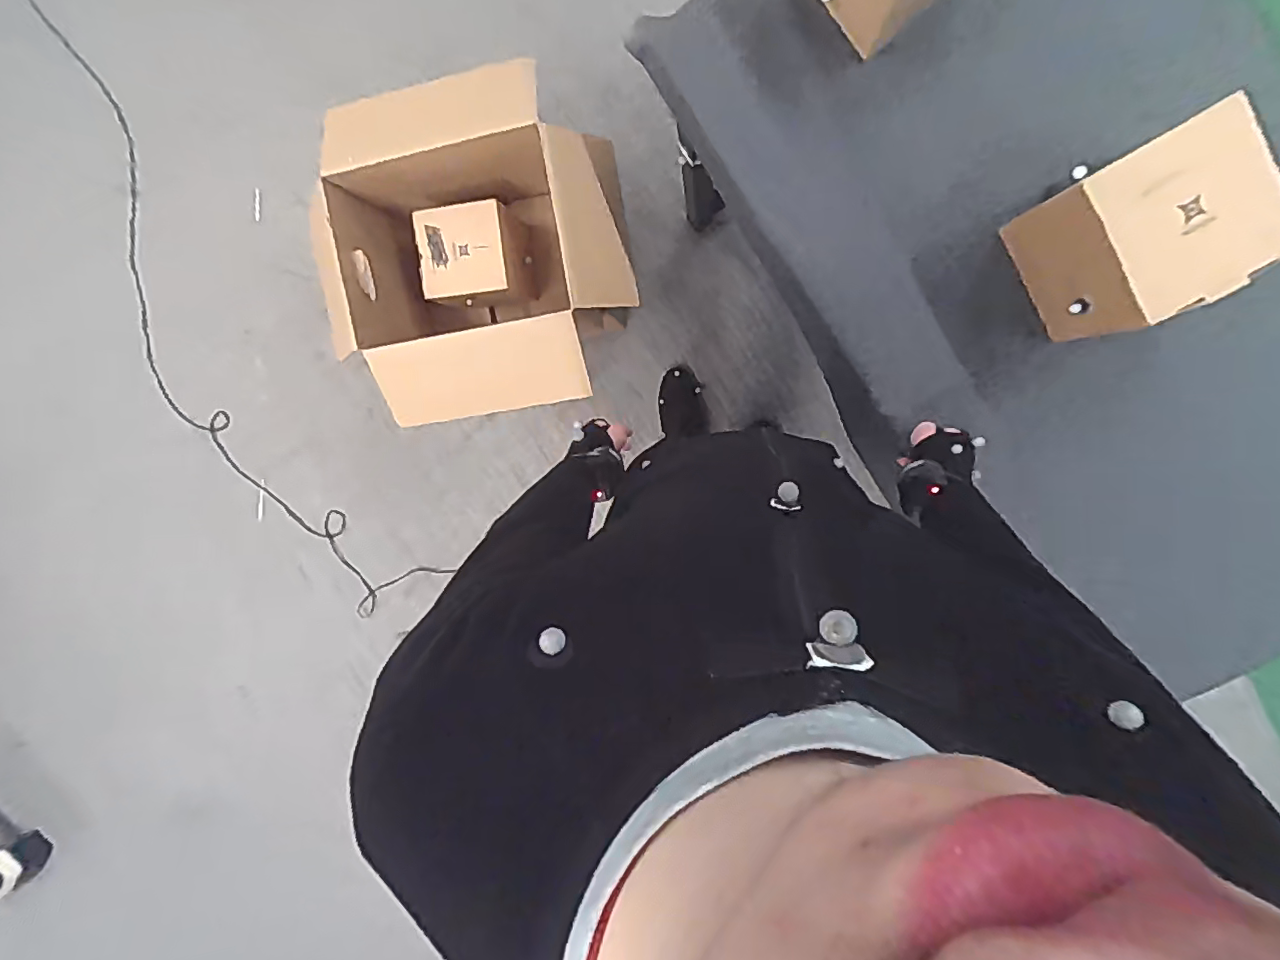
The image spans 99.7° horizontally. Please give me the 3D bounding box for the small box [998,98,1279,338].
[{"bbox_3d":[0.577,-0.283,0.638,0.168,0.176,0.179,-29,93,9],"label":"small box"}]

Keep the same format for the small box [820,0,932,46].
[{"bbox_3d":[0.297,-0.650,0.614,0.168,0.176,0.179,-37,94,10],"label":"small box"}]
